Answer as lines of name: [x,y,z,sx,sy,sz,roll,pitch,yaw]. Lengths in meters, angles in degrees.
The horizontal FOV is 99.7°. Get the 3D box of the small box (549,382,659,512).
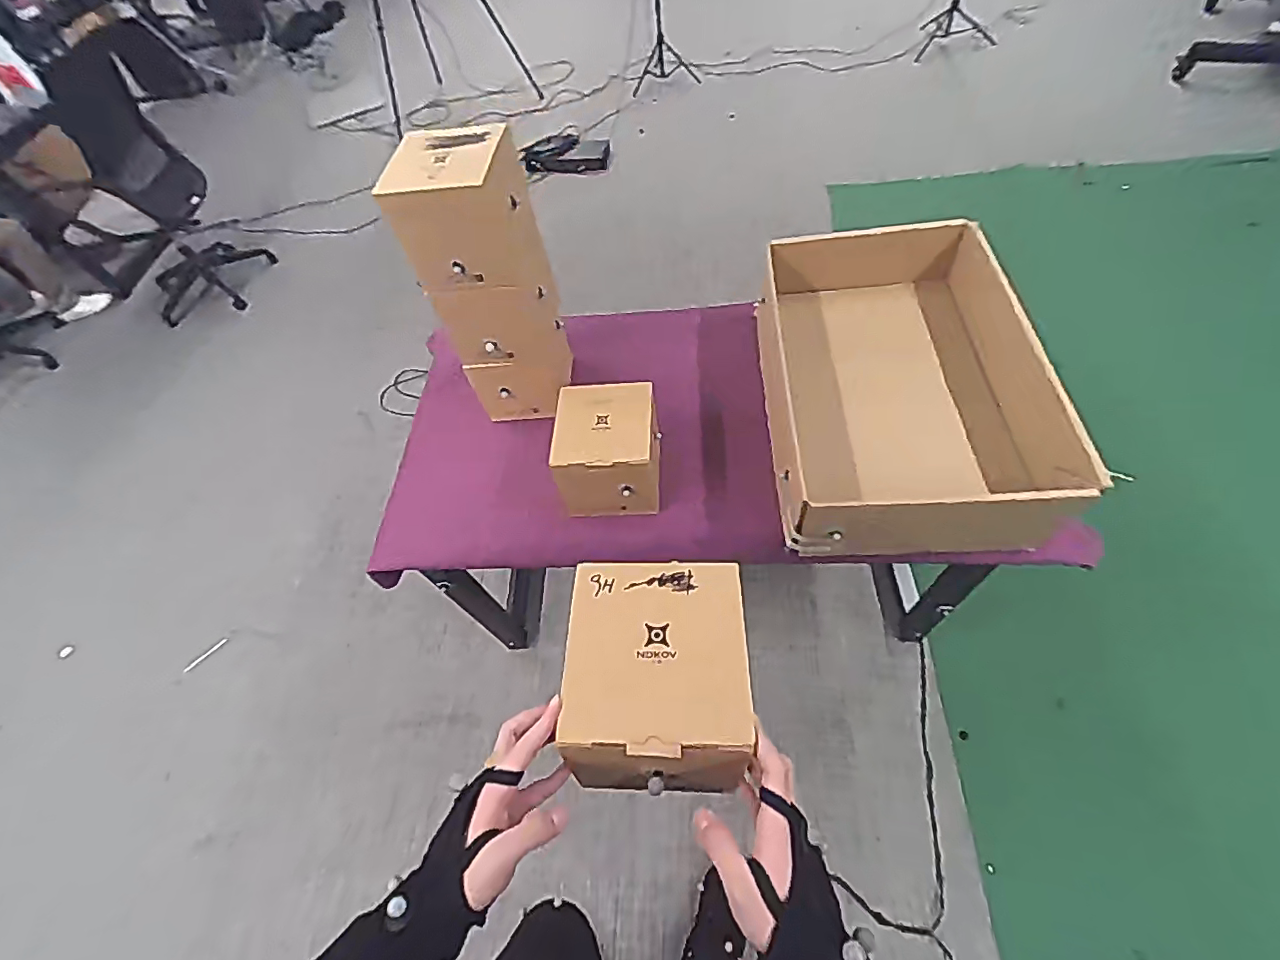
small box: [-0.055,-0.053,0.973,0.168,0.176,0.179,-2,55,6]

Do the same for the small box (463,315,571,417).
small box: [-0.246,-0.243,1.126,0.168,0.176,0.179,-4,56,6]

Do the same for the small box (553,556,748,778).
small box: [0.016,0.195,0.555,0.168,0.176,0.179,-1,51,3]

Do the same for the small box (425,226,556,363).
small box: [-0.259,-0.336,0.990,0.168,0.176,0.179,0,57,8]
